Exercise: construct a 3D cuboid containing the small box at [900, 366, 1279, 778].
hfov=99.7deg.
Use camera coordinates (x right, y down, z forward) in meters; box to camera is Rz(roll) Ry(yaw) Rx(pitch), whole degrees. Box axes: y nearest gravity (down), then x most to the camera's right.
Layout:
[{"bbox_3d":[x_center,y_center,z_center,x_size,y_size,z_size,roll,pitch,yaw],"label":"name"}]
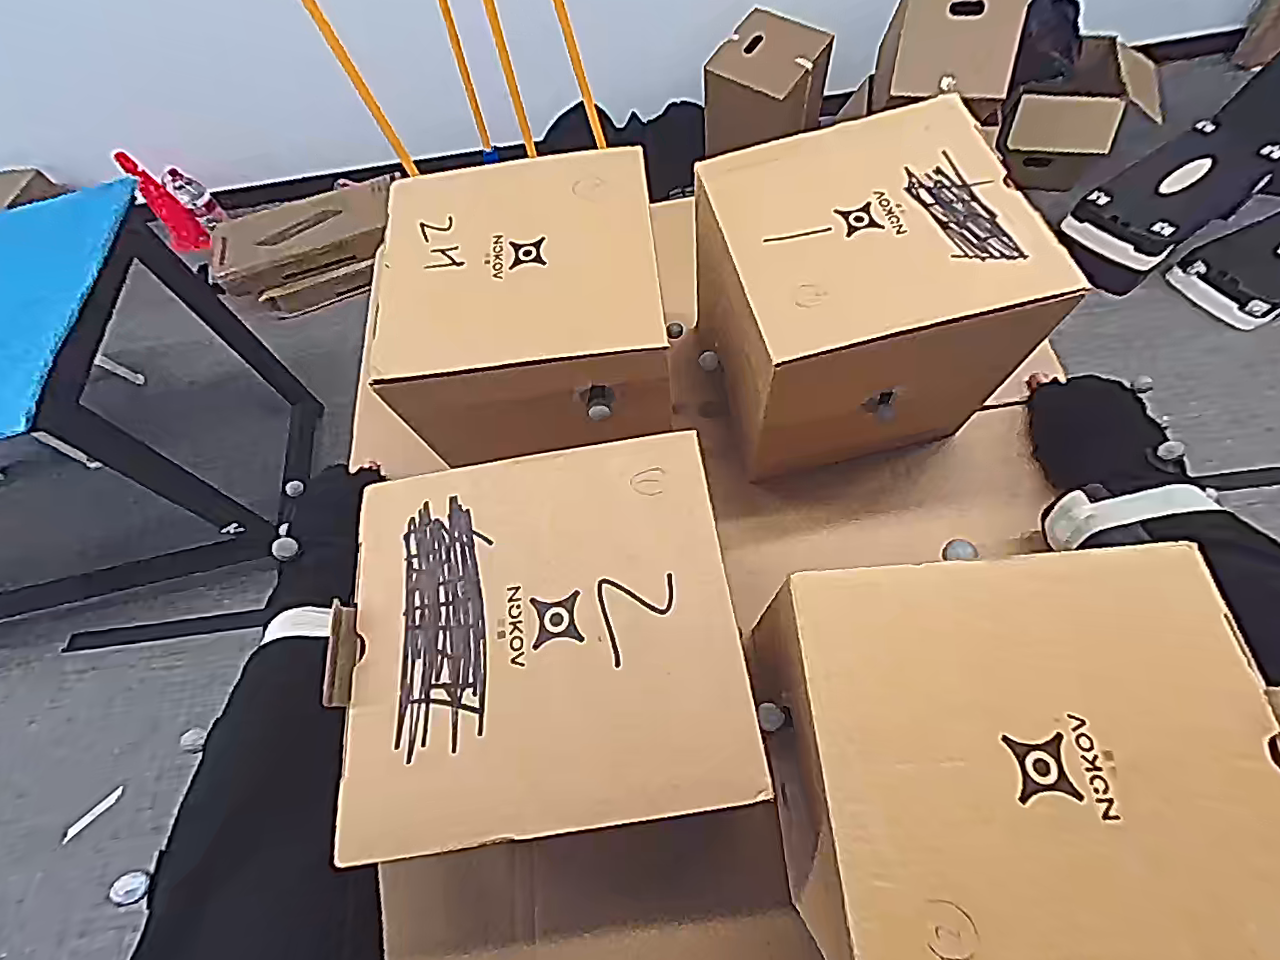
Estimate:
[{"bbox_3d":[0.261,0.054,0.292,0.179,0.176,0.168,7,74,8],"label":"small box"}]
